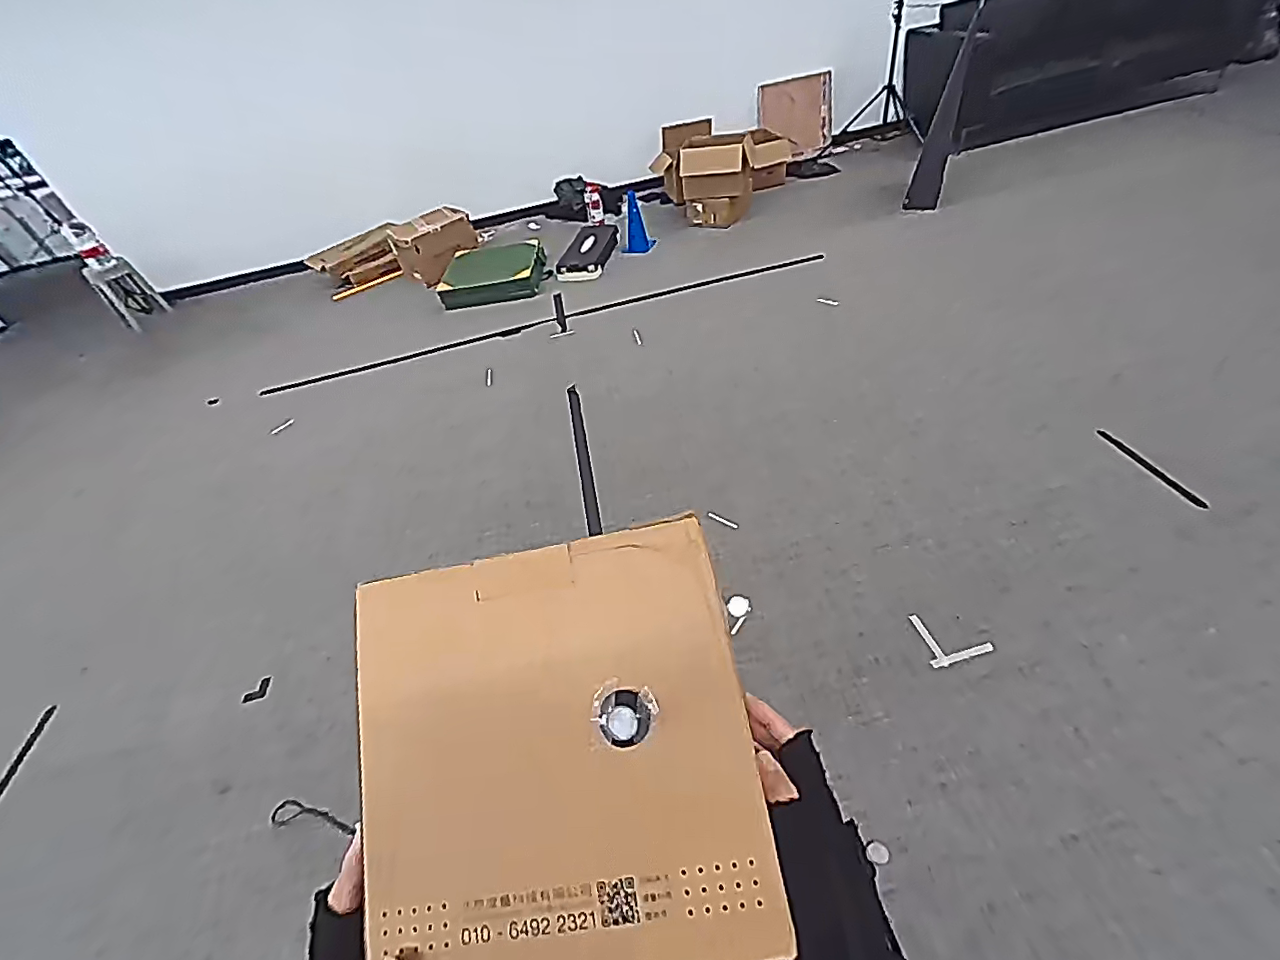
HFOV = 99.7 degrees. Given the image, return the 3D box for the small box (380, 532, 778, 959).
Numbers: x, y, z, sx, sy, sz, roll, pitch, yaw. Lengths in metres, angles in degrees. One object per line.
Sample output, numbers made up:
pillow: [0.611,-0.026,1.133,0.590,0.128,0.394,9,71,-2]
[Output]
small box: [-0.022,0.140,0.319,0.168,0.179,0.176,-12,74,7]
